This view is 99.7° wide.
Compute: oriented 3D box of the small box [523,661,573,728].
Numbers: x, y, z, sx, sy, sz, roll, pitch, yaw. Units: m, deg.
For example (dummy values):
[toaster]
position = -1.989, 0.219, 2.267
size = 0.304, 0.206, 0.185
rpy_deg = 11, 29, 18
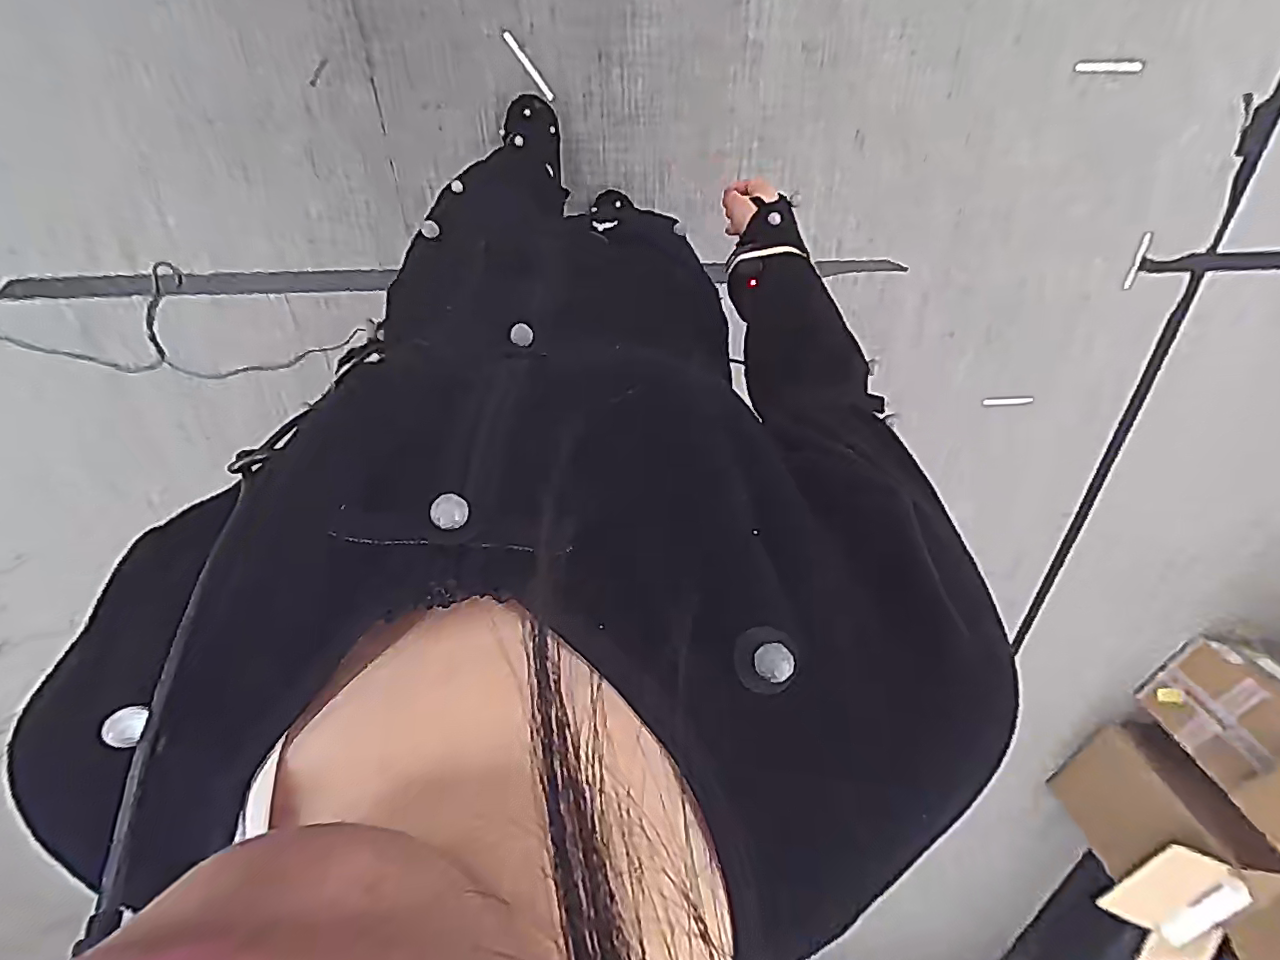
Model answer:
[small box]
position = -0.337, 0.791, 2.005
size = 0.168, 0.176, 0.179
rpy_deg = -1, 122, -3
